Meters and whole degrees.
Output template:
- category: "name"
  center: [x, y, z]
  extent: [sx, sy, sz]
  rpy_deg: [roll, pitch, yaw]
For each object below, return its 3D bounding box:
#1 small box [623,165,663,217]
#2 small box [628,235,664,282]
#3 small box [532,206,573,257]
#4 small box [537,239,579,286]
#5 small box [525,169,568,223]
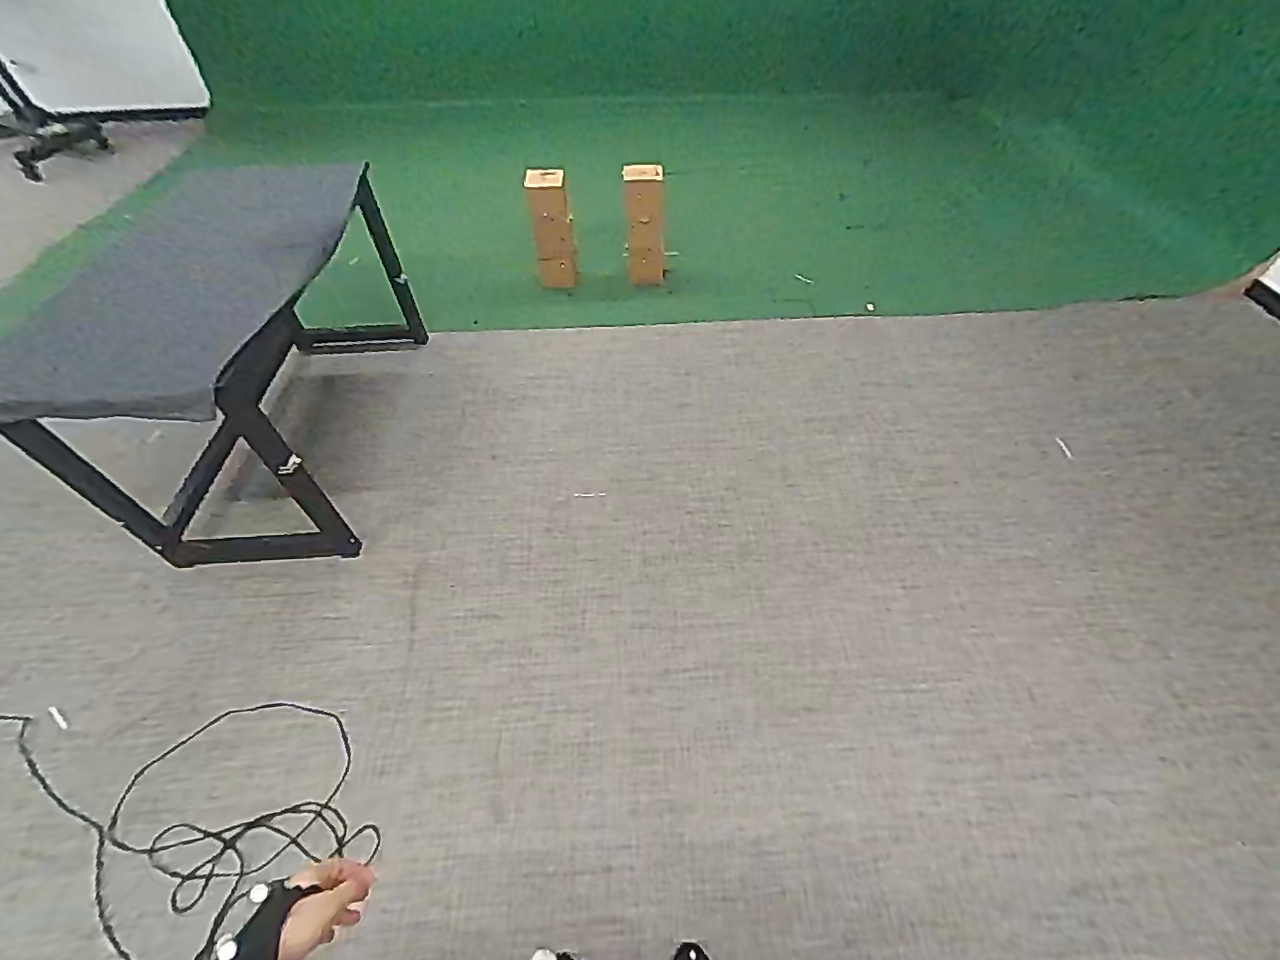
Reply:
- category: "small box"
  center: [0.016, -1.328, 2.486]
  extent: [0.179, 0.176, 0.168]
  rpy_deg: [-1, 50, 1]
- category: "small box"
  center: [0.032, -1.119, 2.739]
  extent: [0.179, 0.176, 0.168]
  rpy_deg: [0, 51, 2]
- category: "small box"
  center: [-0.413, -1.187, 2.590]
  extent: [0.179, 0.176, 0.168]
  rpy_deg: [-5, 50, -2]
- category: "small box"
  center: [-0.409, -1.093, 2.722]
  extent: [0.179, 0.176, 0.168]
  rpy_deg: [2, 50, 3]
- category: "small box"
  center: [-0.421, -1.295, 2.465]
  extent: [0.168, 0.176, 0.179]
  rpy_deg: [-2, 51, -1]
